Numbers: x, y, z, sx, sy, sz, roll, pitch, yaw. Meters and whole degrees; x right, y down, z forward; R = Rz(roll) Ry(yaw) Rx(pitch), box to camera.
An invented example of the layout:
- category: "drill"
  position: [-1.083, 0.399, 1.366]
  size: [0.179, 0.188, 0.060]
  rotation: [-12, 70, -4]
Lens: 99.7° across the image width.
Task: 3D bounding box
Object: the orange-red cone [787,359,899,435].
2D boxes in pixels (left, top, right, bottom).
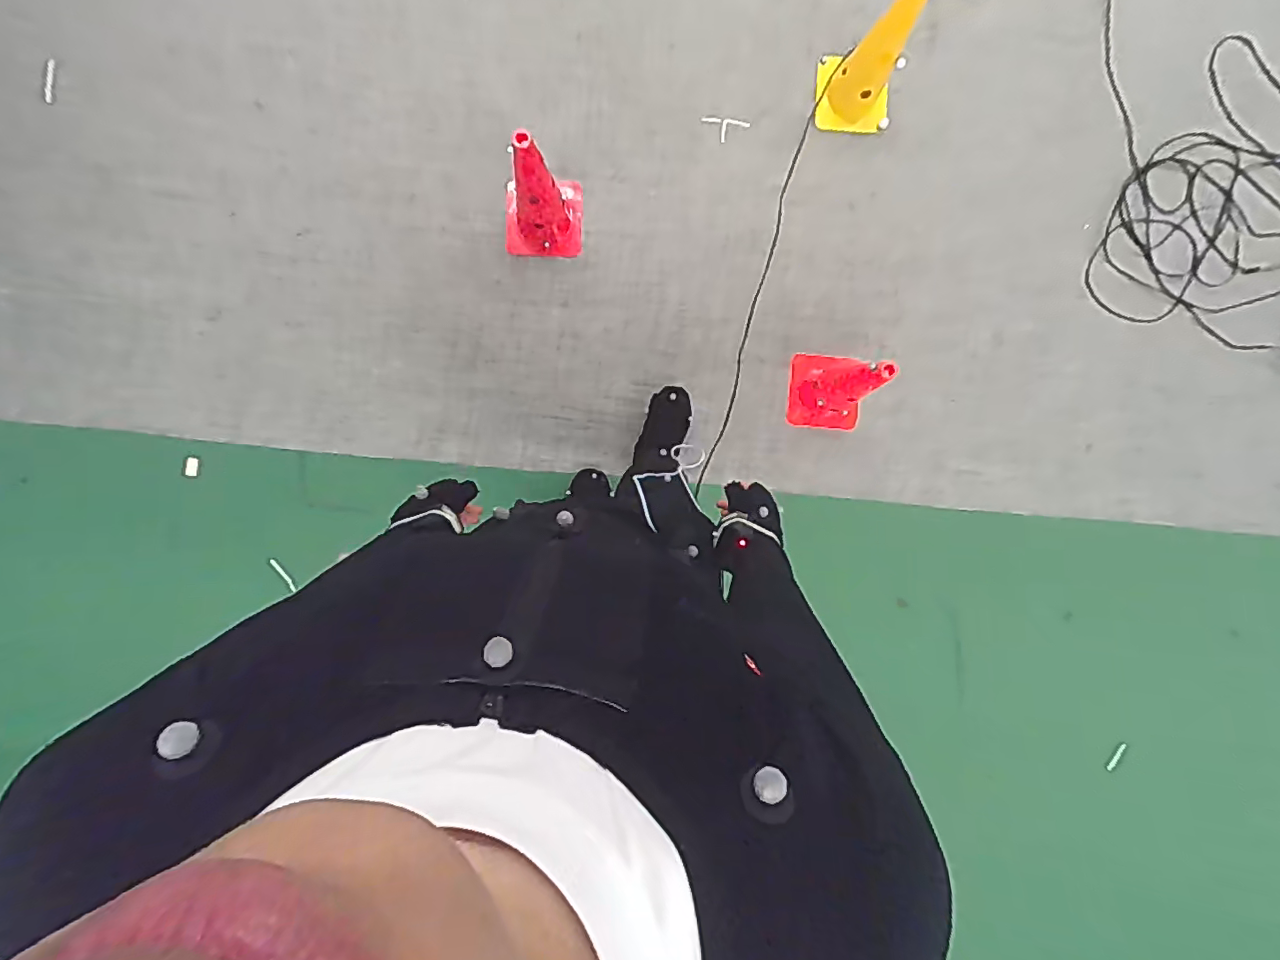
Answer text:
- category: "orange-red cone"
  position: [0.522, -0.229, 1.329]
  size: [0.198, 0.360, 0.199]
  rotation: [6, 90, -4]

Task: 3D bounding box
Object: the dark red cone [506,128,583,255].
- category: "dark red cone"
  position: [-0.242, -0.686, 1.258]
  size: [0.202, 0.394, 0.201]
  rotation: [0, 92, -3]
